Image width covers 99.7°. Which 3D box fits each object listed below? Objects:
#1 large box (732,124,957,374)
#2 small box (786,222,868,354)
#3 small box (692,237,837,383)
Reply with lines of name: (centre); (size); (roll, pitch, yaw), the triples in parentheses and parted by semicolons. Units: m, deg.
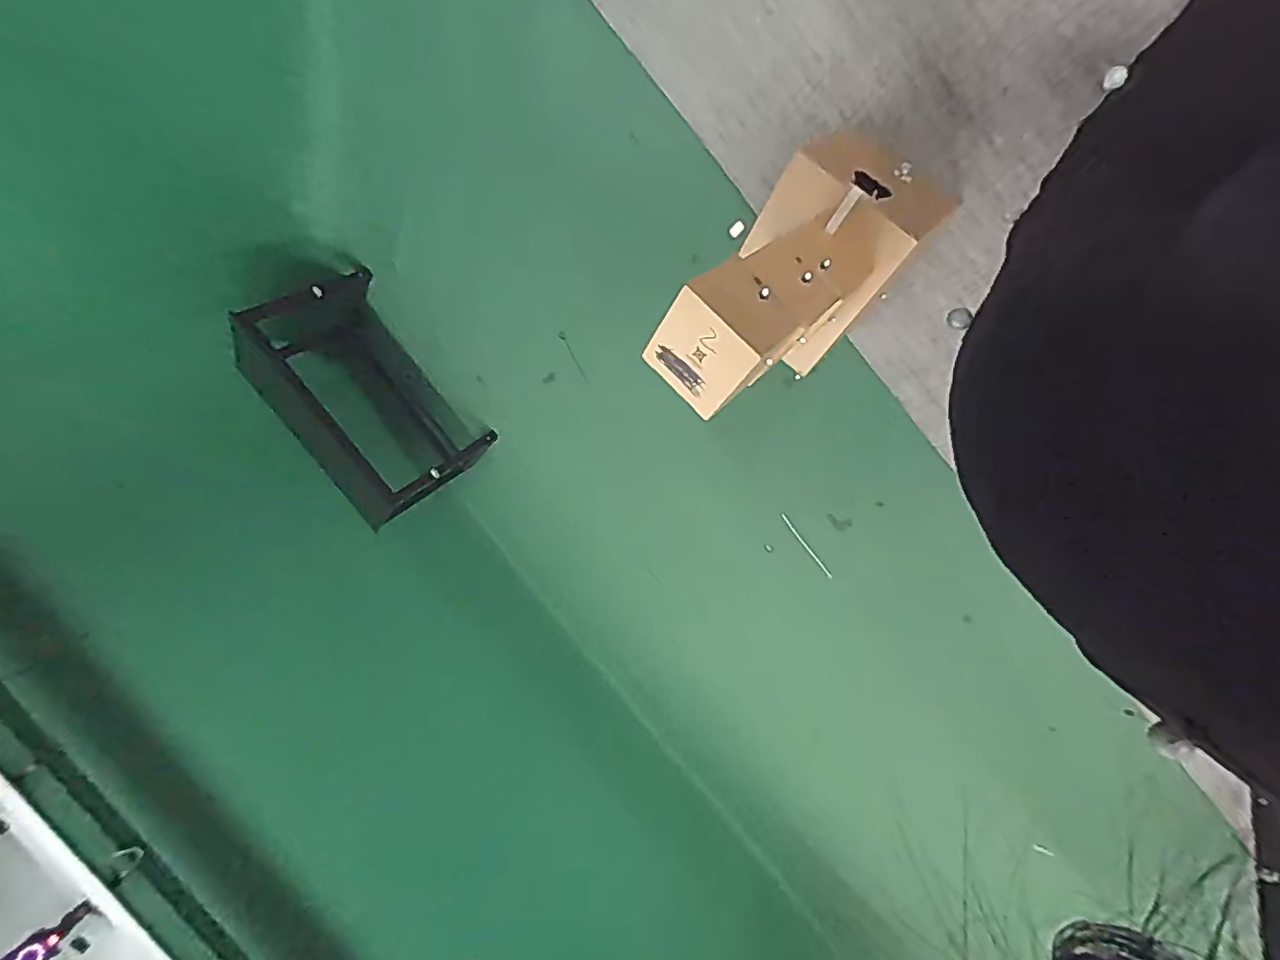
large box: (0.455, -0.546, 1.297); (0.320, 0.320, 0.408); (43, 145, 9)
small box: (0.339, -0.405, 1.128); (0.179, 0.176, 0.168); (45, 143, 4)
small box: (0.238, -0.324, 1.030); (0.168, 0.176, 0.179); (46, 143, 3)
